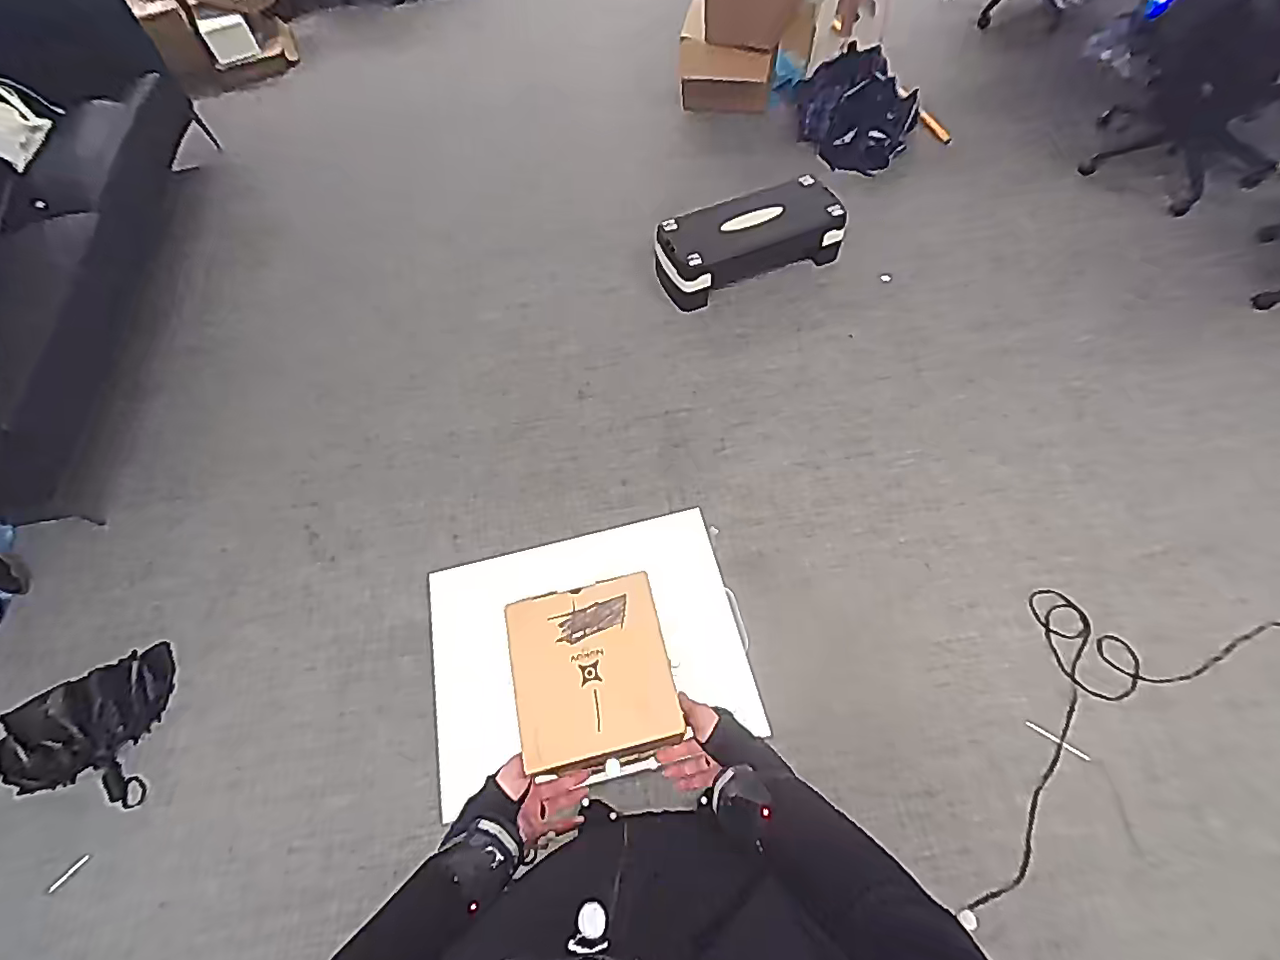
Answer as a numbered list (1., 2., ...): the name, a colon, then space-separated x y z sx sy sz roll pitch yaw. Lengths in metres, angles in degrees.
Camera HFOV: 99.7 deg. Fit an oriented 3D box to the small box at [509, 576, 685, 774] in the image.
1. small box: -0.049 0.238 0.645 0.168 0.176 0.179 -13 62 -4
